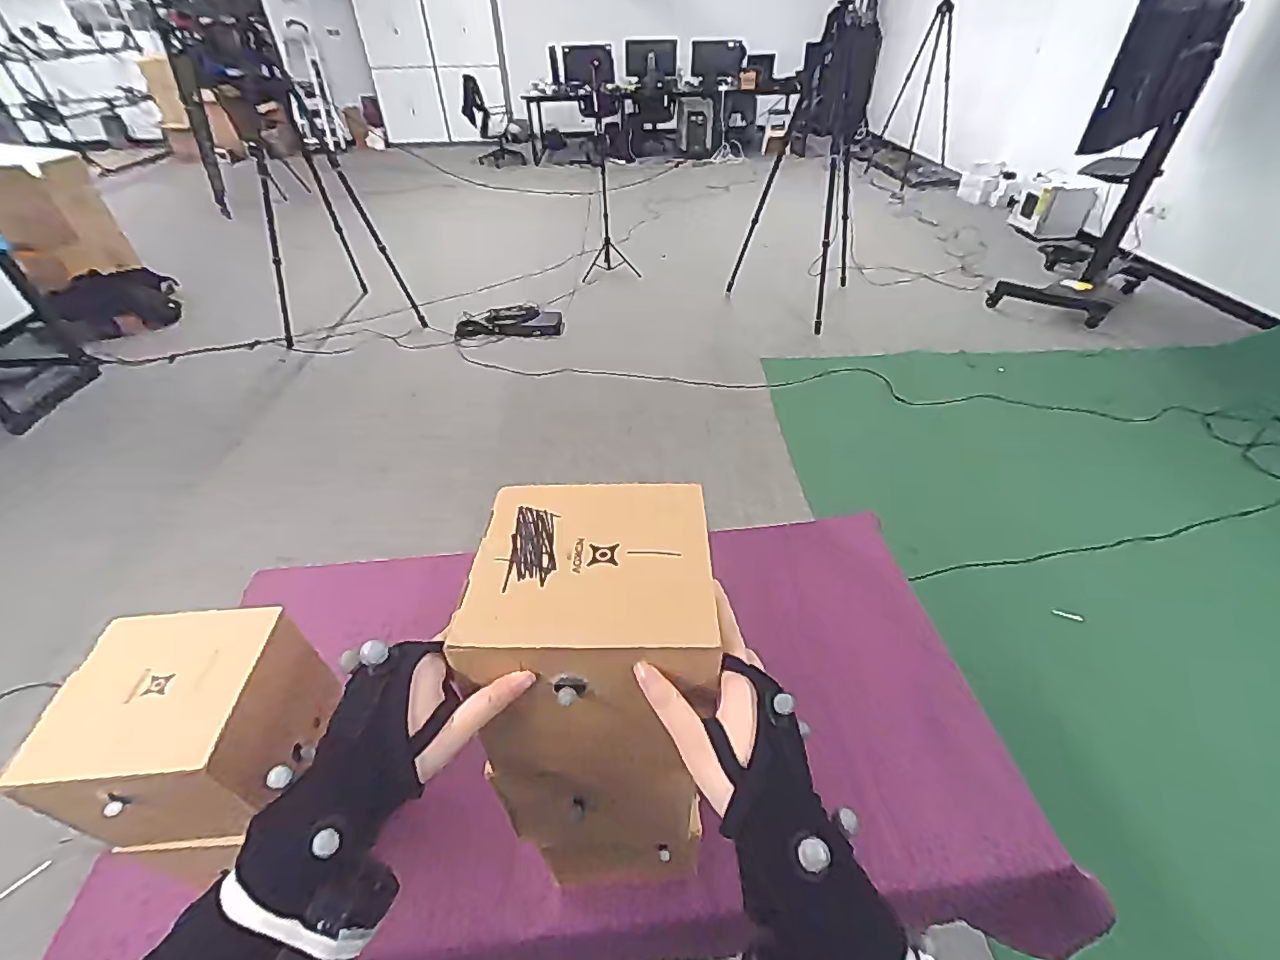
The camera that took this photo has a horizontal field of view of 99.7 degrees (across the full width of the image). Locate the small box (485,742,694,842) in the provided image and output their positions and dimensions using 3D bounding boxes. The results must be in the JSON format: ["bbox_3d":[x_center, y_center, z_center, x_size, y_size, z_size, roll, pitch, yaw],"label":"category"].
[{"bbox_3d":[-0.036,0.249,0.550,0.179,0.176,0.168,-1,40,2],"label":"small box"}]

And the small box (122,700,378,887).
[{"bbox_3d":[-0.451,0.380,0.667,0.168,0.176,0.179,-2,41,-1],"label":"small box"}]

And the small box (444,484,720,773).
[{"bbox_3d":[-0.032,0.120,0.443,0.179,0.176,0.168,0,38,2],"label":"small box"}]

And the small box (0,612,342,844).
[{"bbox_3d":[-0.451,0.257,0.560,0.179,0.176,0.168,-3,42,-2],"label":"small box"}]

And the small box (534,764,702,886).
[{"bbox_3d":[-0.023,0.372,0.660,0.179,0.176,0.168,-4,41,-2],"label":"small box"}]
